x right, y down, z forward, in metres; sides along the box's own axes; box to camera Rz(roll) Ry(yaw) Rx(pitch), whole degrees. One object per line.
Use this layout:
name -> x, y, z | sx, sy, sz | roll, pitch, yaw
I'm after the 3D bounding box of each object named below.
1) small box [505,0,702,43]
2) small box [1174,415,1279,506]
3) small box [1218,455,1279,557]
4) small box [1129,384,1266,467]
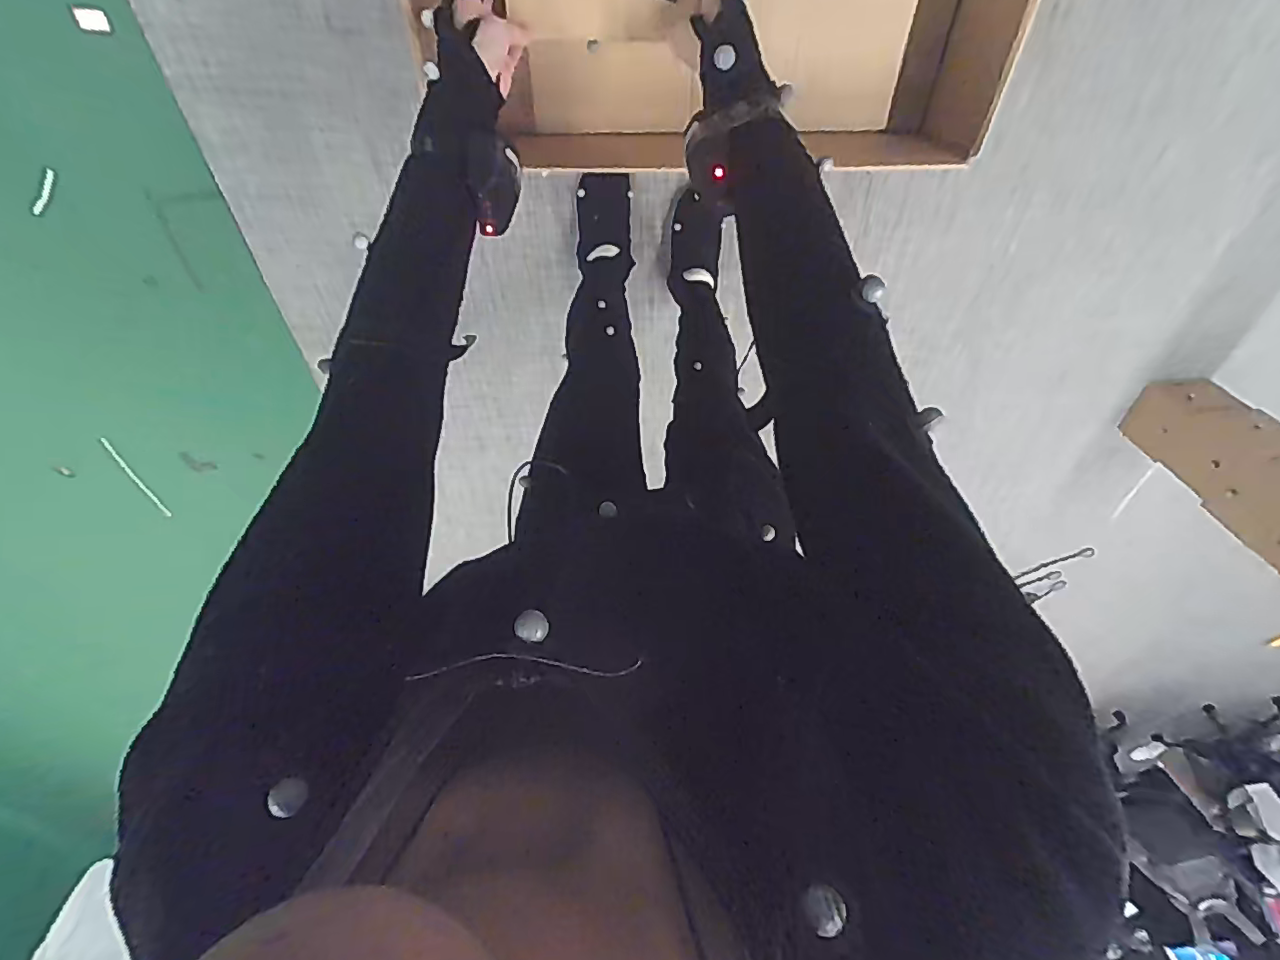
small box -> -0.038, -0.517, 0.497 | 0.179, 0.176, 0.168 | -3, 131, -5
small box -> 1.546, -0.055, 1.383 | 0.168, 0.176, 0.179 | -2, 132, 1
small box -> 1.537, 0.058, 1.266 | 0.168, 0.176, 0.179 | -4, 133, 2
small box -> 1.540, -0.158, 1.511 | 0.168, 0.176, 0.179 | -3, 133, 0
